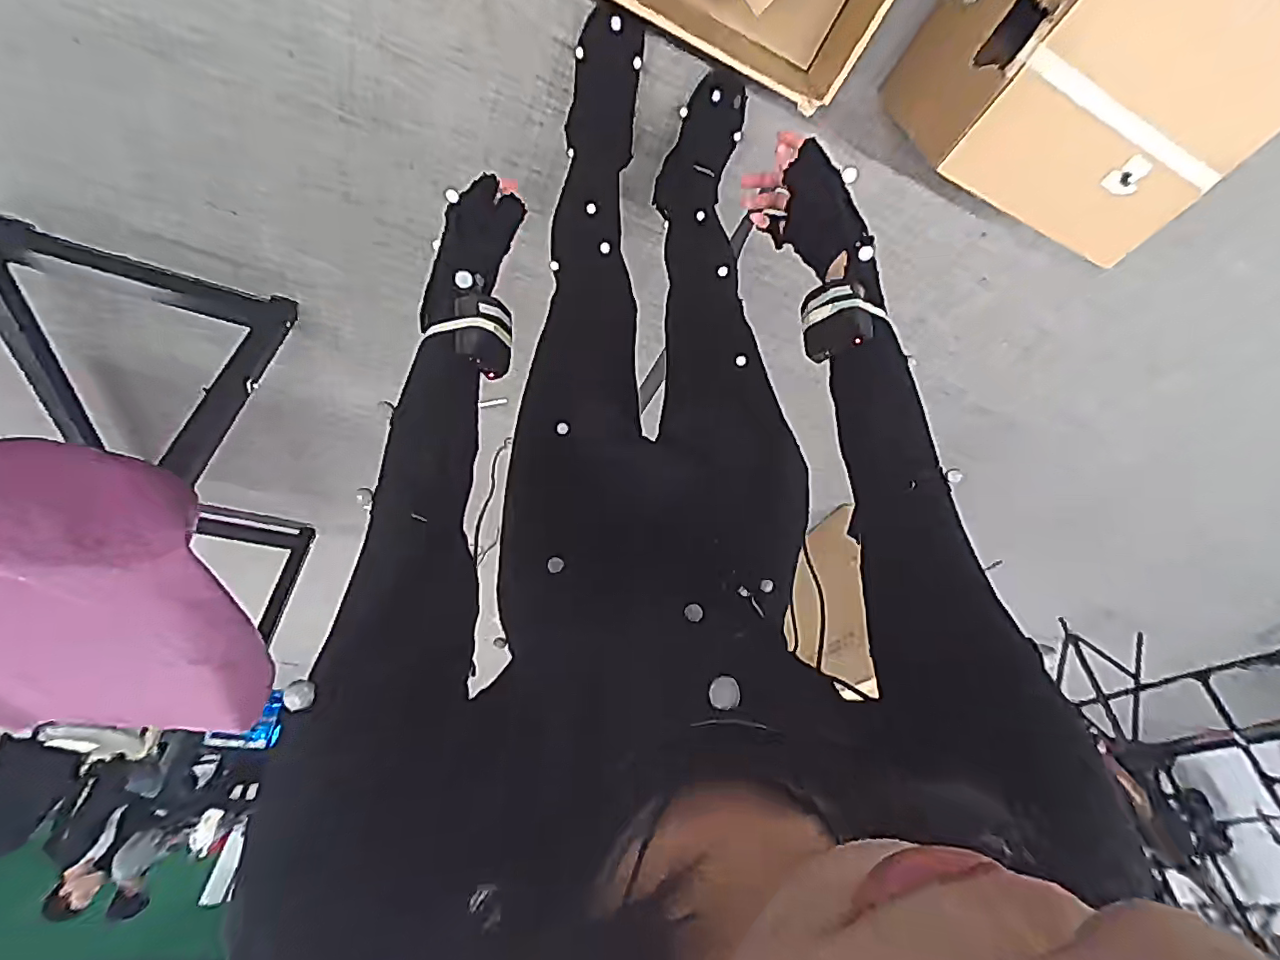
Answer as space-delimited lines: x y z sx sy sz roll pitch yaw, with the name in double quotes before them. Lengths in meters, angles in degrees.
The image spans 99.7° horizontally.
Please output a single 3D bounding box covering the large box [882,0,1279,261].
"large box" 0.667 -0.613 0.825 0.408 0.320 0.320 14 141 -19
